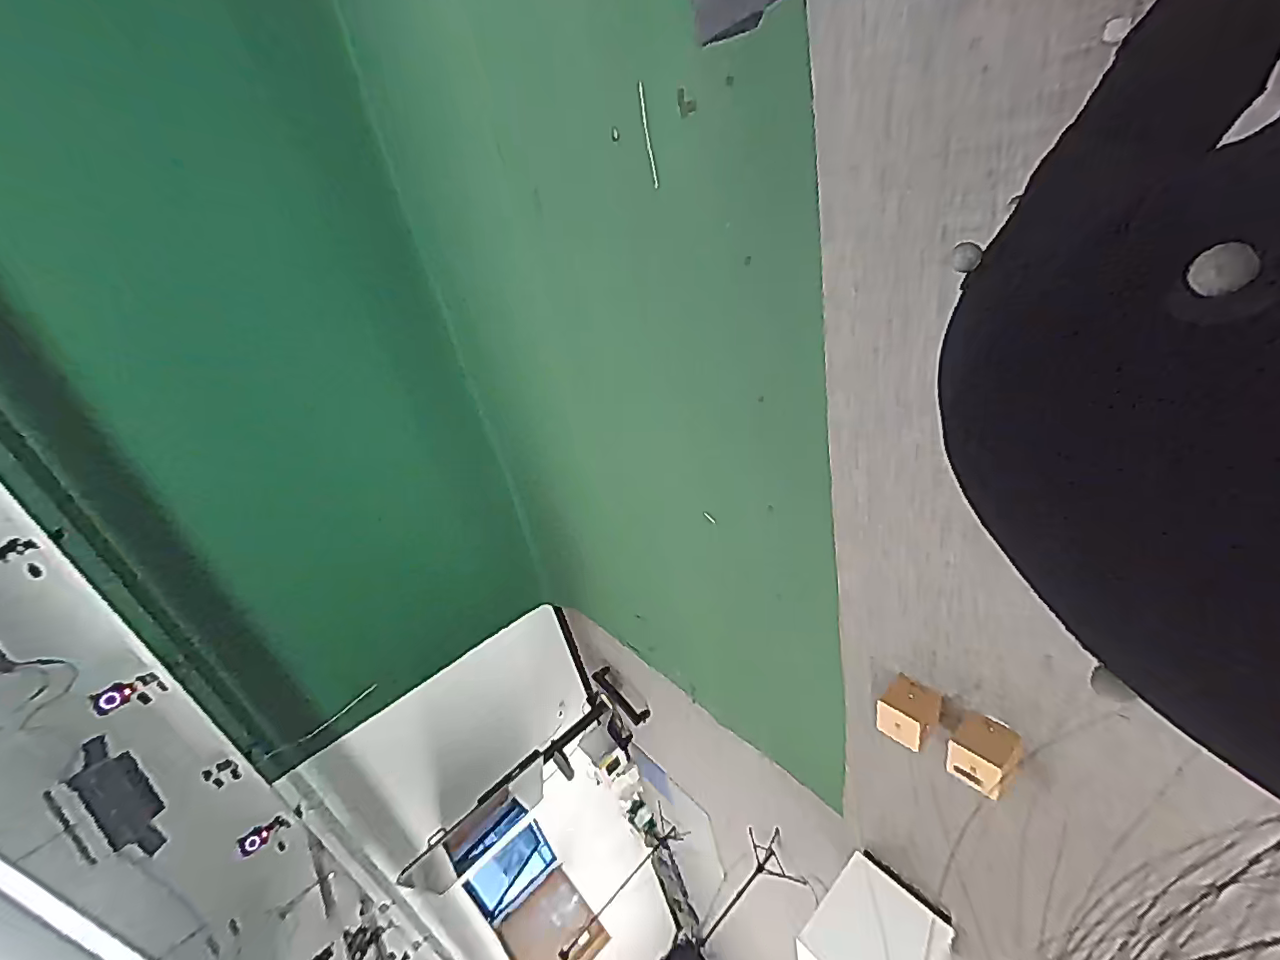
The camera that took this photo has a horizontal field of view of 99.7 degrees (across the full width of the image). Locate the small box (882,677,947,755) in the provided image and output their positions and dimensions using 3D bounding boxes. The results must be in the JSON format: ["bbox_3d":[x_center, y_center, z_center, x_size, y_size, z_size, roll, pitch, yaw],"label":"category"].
[{"bbox_3d":[1.053,0.894,2.070,0.168,0.176,0.179,23,134,48],"label":"small box"}]
